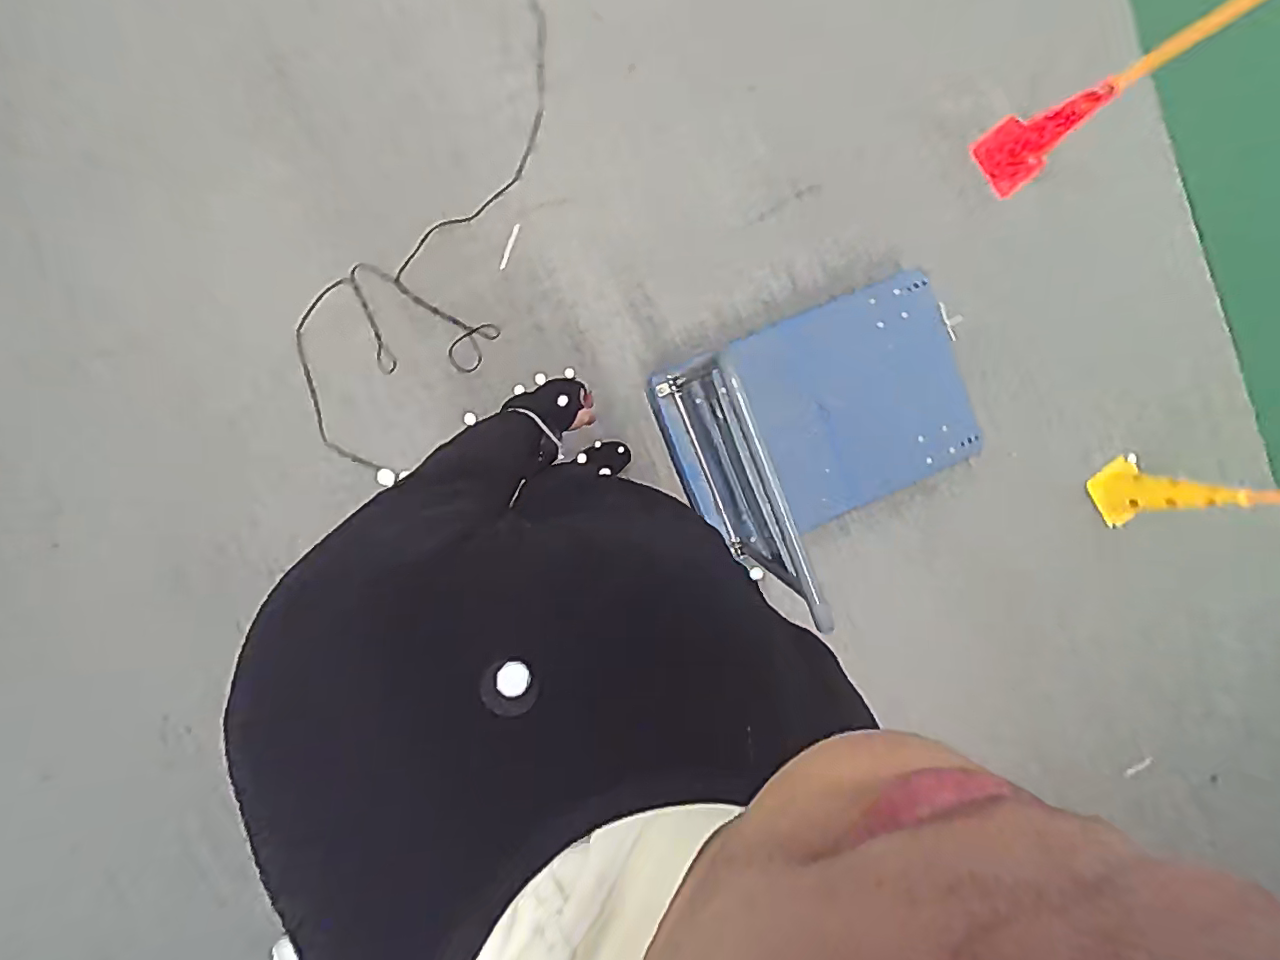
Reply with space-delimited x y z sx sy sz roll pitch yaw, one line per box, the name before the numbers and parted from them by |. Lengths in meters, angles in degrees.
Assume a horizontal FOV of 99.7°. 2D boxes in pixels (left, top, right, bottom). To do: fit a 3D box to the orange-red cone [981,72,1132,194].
orange-red cone | 1.227 -1.040 1.566 0.198 0.360 0.199 -38 95 -5
